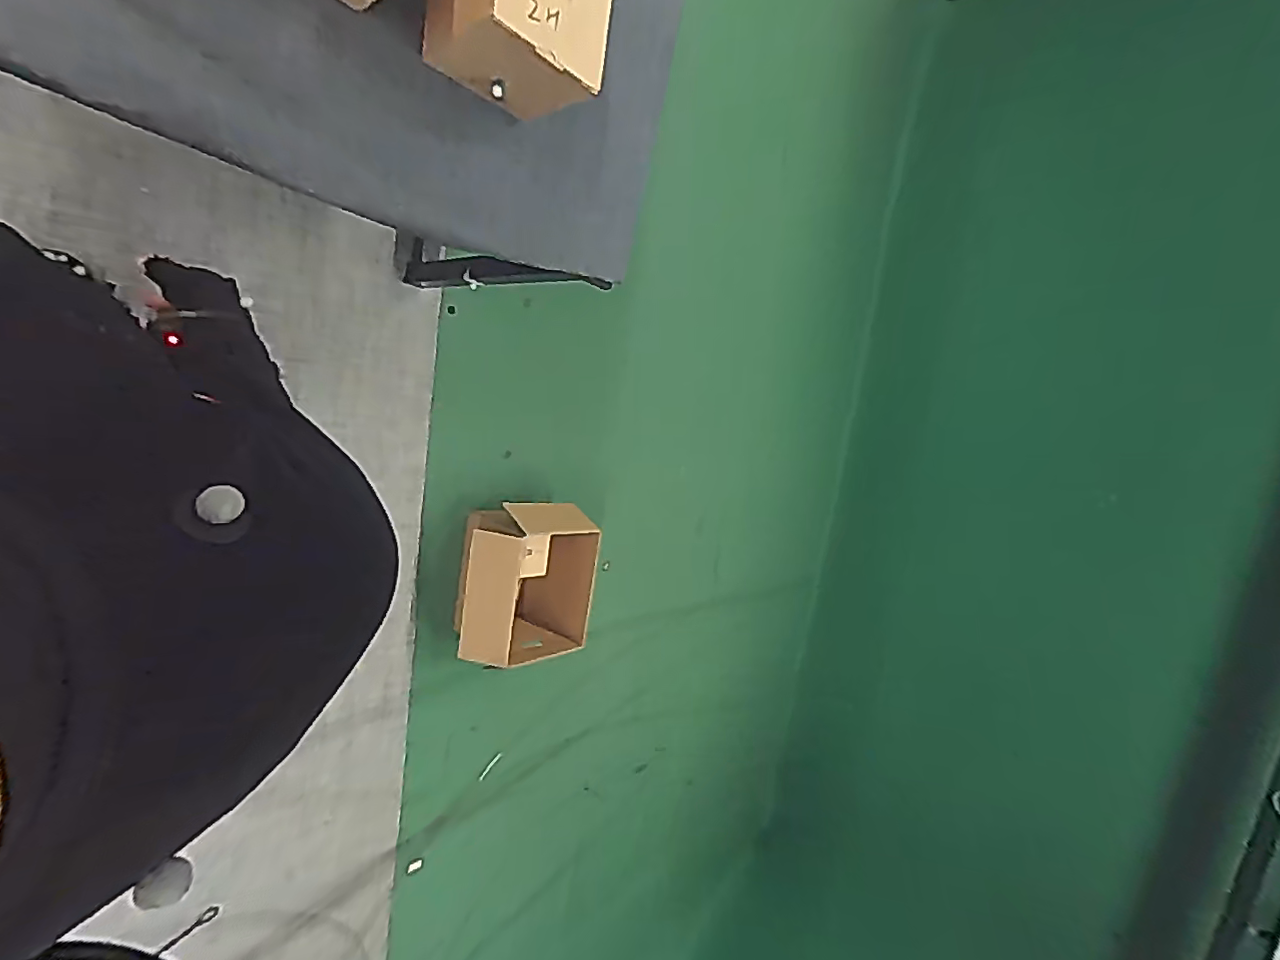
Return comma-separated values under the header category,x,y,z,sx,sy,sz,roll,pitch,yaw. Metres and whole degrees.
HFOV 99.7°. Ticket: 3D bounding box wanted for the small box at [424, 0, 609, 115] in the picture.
category,x,y,z,sx,sy,sz,roll,pitch,yaw
small box,-0.158,-0.615,0.694,0.168,0.176,0.179,0,102,-48
